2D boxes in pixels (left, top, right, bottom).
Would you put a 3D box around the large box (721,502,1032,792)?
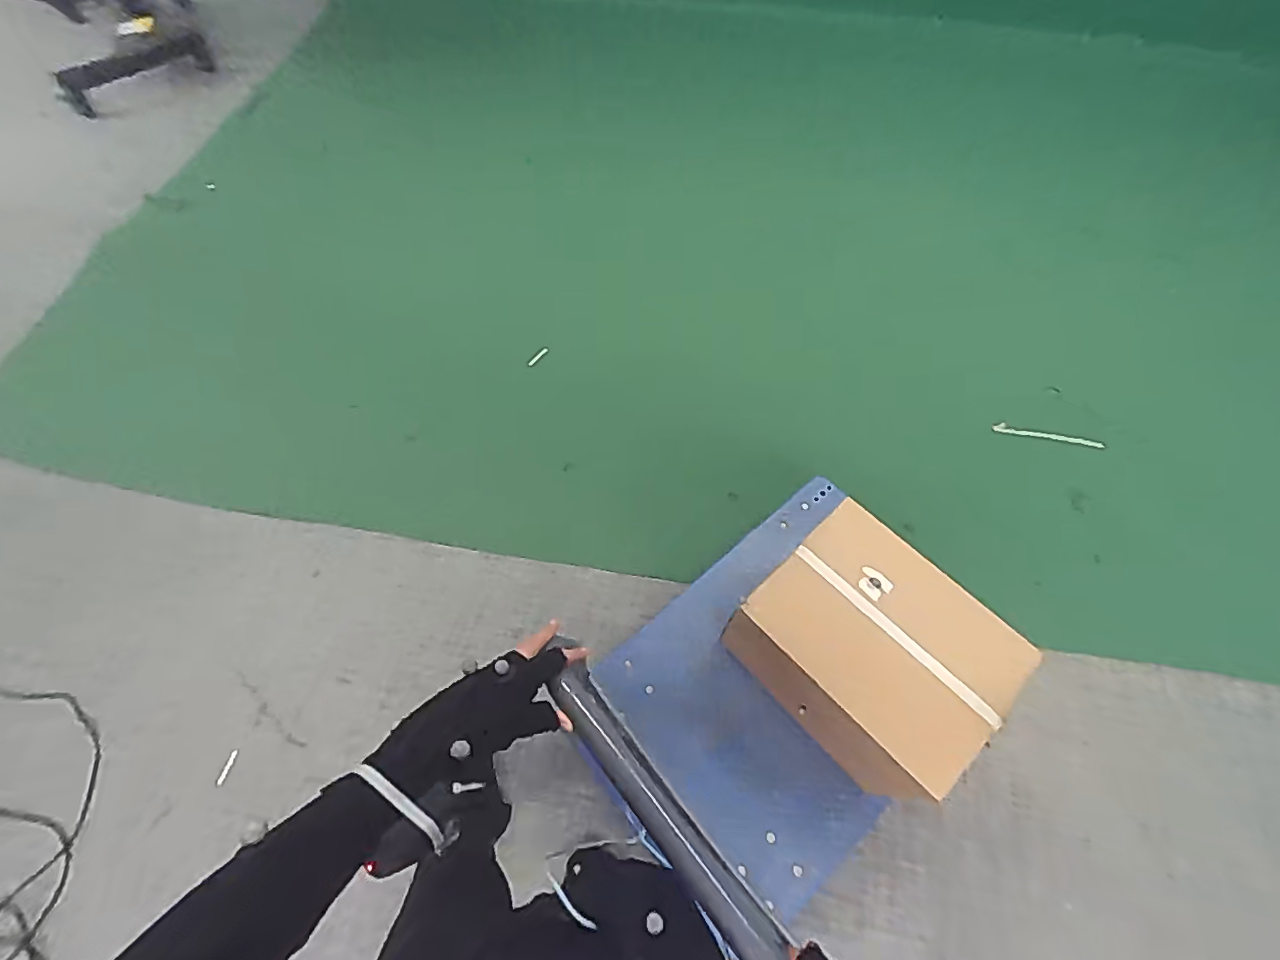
[{"bbox_3d":[0.420,0.326,1.059,0.320,0.320,0.408,-40,68,-19],"label":"large box"}]
